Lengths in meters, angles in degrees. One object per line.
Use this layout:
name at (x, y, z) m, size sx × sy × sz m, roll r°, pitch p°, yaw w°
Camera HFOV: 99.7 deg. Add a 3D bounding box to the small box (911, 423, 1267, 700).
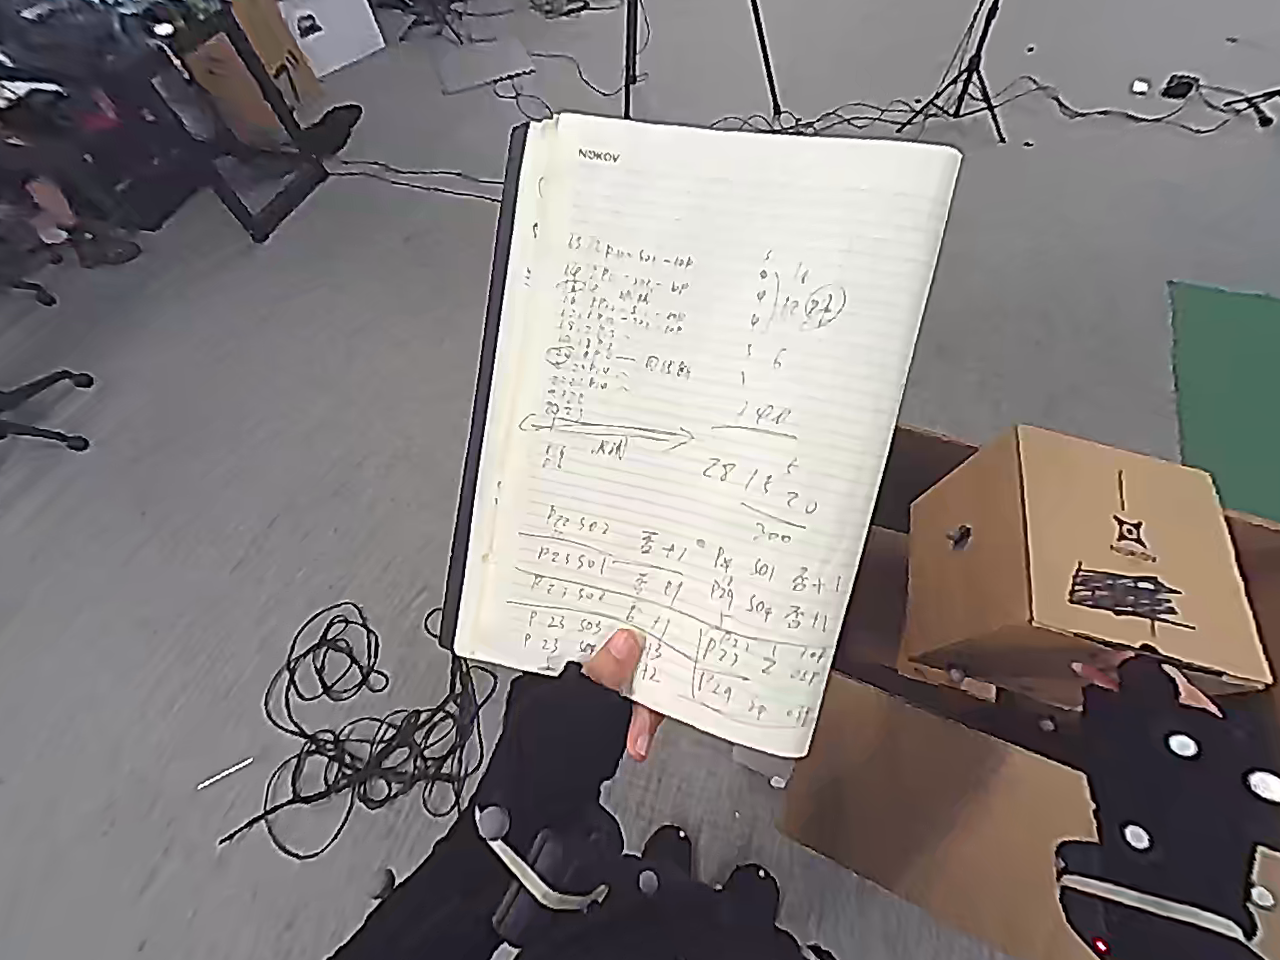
small box at (0.364, 0.082, 0.483) m, size 0.168 × 0.176 × 0.179 m, roll 16°, pitch 61°, yaw 2°
